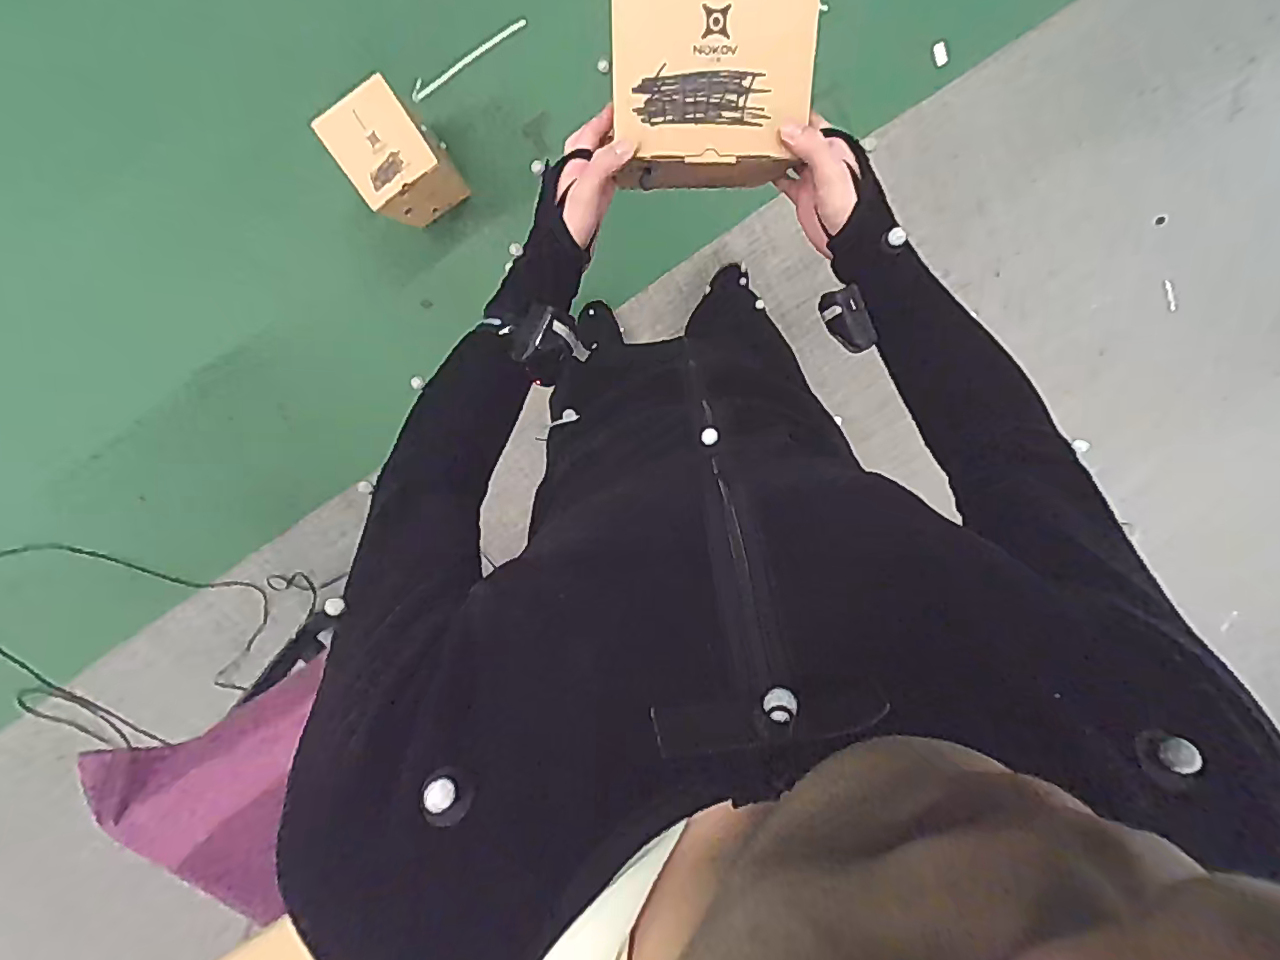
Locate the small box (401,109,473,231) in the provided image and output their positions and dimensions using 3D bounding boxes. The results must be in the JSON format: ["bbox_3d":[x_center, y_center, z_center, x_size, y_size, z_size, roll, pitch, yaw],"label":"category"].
[{"bbox_3d":[-0.518,-0.712,1.265,0.168,0.176,0.179,-32,110,6],"label":"small box"}]

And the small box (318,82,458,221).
[{"bbox_3d":[-0.502,-0.657,1.111,0.168,0.176,0.179,-32,109,5],"label":"small box"}]
